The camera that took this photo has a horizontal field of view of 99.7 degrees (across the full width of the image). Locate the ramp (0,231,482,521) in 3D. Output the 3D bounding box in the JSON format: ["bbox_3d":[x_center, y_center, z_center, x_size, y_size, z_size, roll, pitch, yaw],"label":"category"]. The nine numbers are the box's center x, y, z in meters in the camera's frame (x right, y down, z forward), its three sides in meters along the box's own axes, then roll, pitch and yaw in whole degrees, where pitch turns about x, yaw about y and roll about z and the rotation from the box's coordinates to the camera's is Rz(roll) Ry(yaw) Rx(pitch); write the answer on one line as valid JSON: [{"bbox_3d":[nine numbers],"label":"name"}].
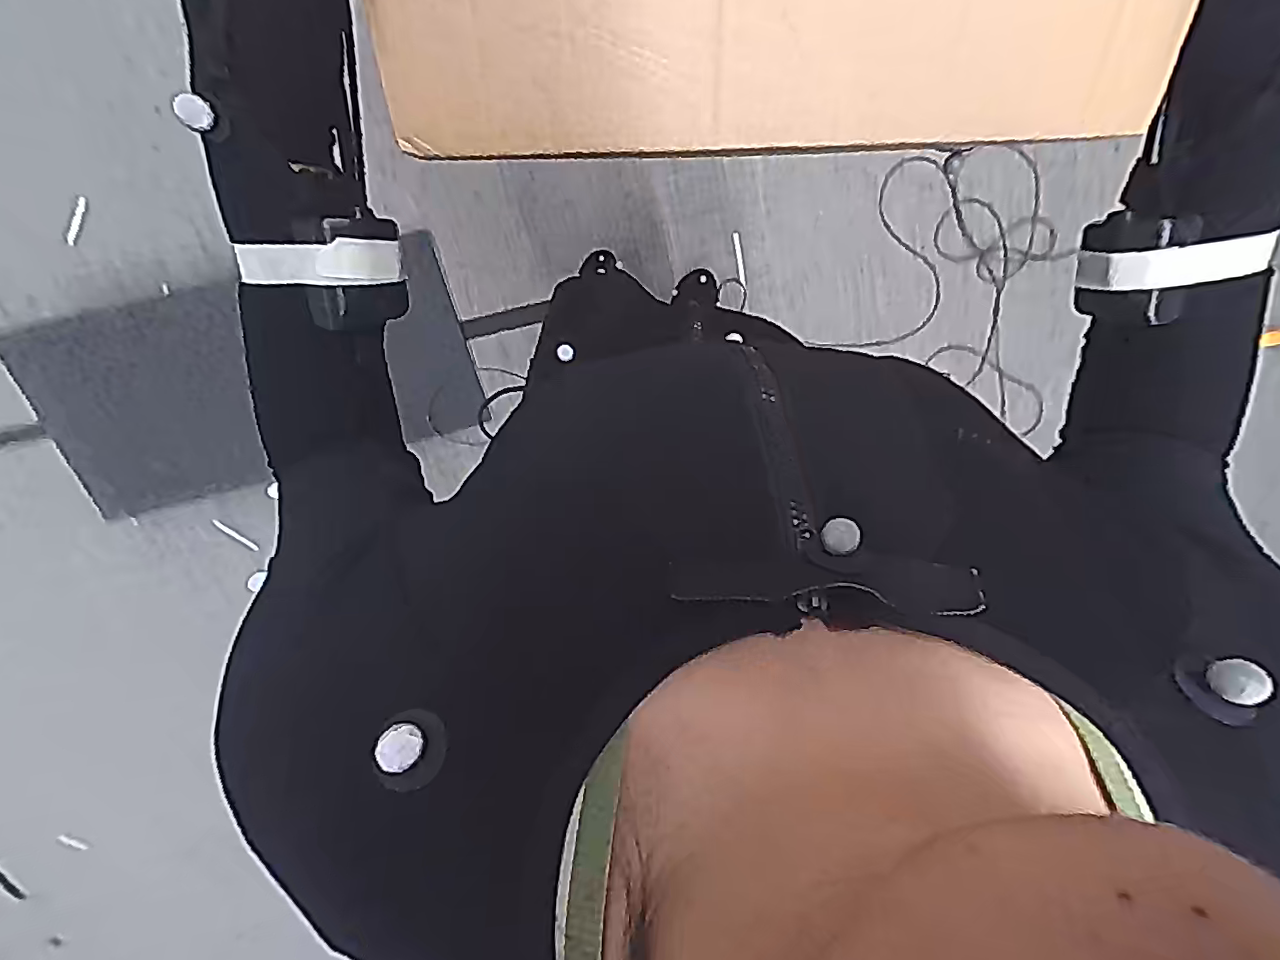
[{"bbox_3d":[-0.957,-0.252,1.344,0.991,0.206,0.509,-14,110,5],"label":"ramp"}]

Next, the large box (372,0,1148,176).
[{"bbox_3d":[0.055,-0.392,0.352,0.408,0.320,0.320,-4,120,-2],"label":"large box"}]
